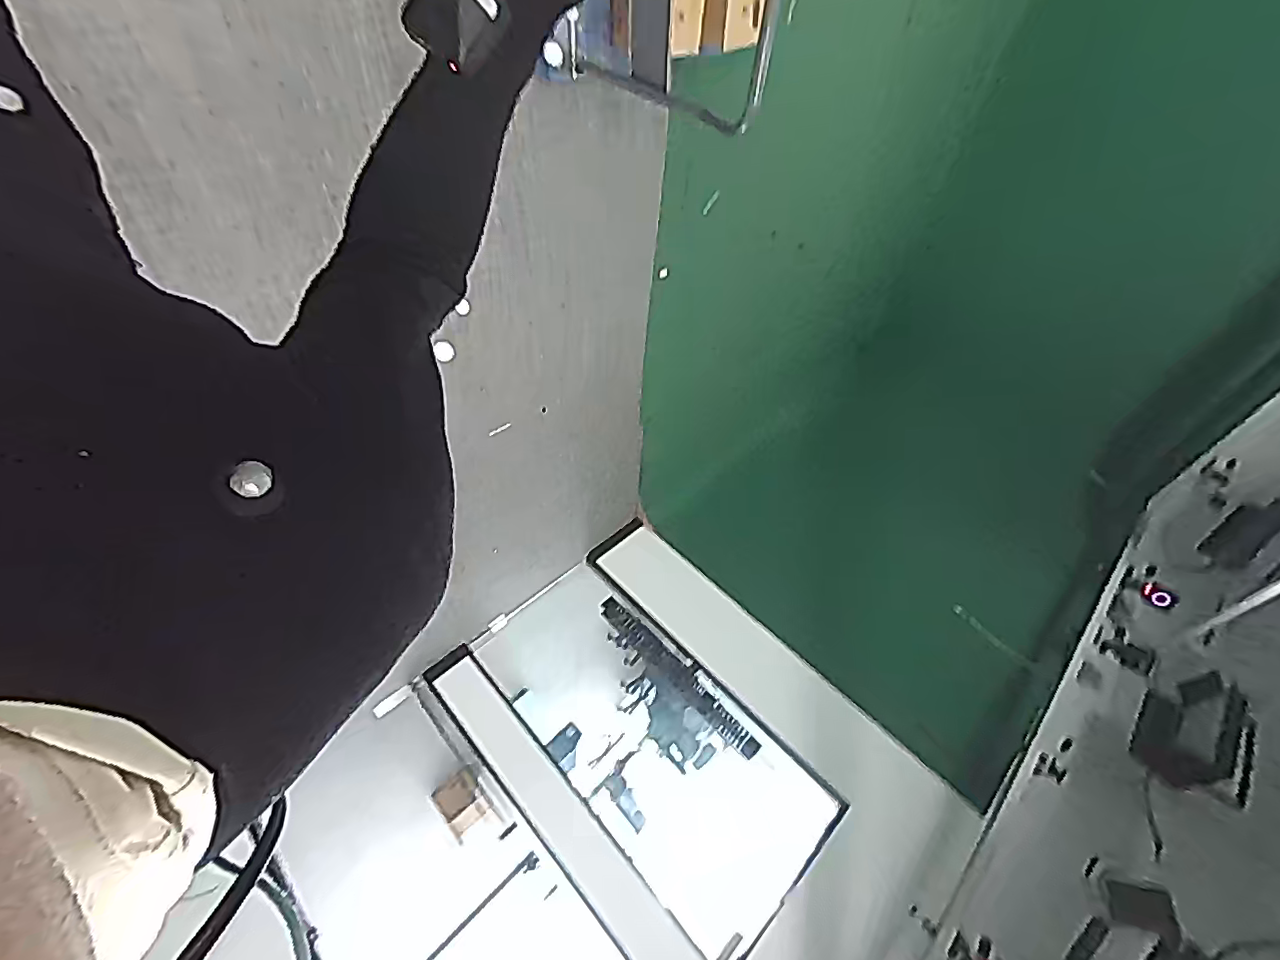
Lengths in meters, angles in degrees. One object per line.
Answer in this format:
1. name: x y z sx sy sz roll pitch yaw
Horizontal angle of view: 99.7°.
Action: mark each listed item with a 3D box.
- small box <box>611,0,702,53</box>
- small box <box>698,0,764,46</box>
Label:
1. small box: 0.046 -1.260 1.434 0.179 0.176 0.168 -32 149 -29
2. small box: 0.243 -1.390 1.564 0.179 0.176 0.168 -35 149 -25
